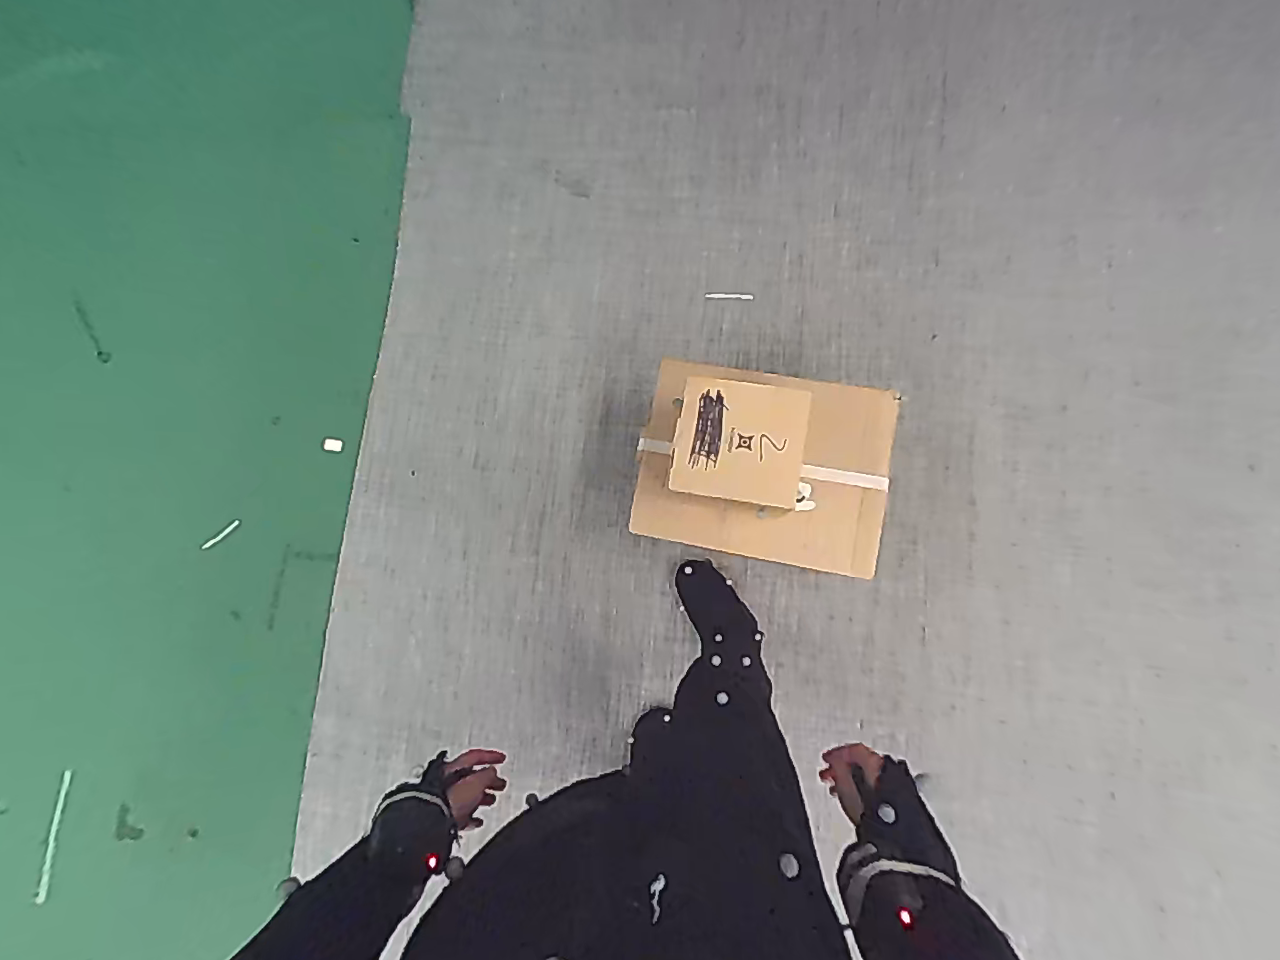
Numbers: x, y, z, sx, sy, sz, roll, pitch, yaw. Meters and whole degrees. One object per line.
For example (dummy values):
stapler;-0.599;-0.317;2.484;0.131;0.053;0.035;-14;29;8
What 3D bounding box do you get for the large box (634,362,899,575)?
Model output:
large box;0.224;-0.008;1.047;0.408;0.320;0.320;10;85;8
